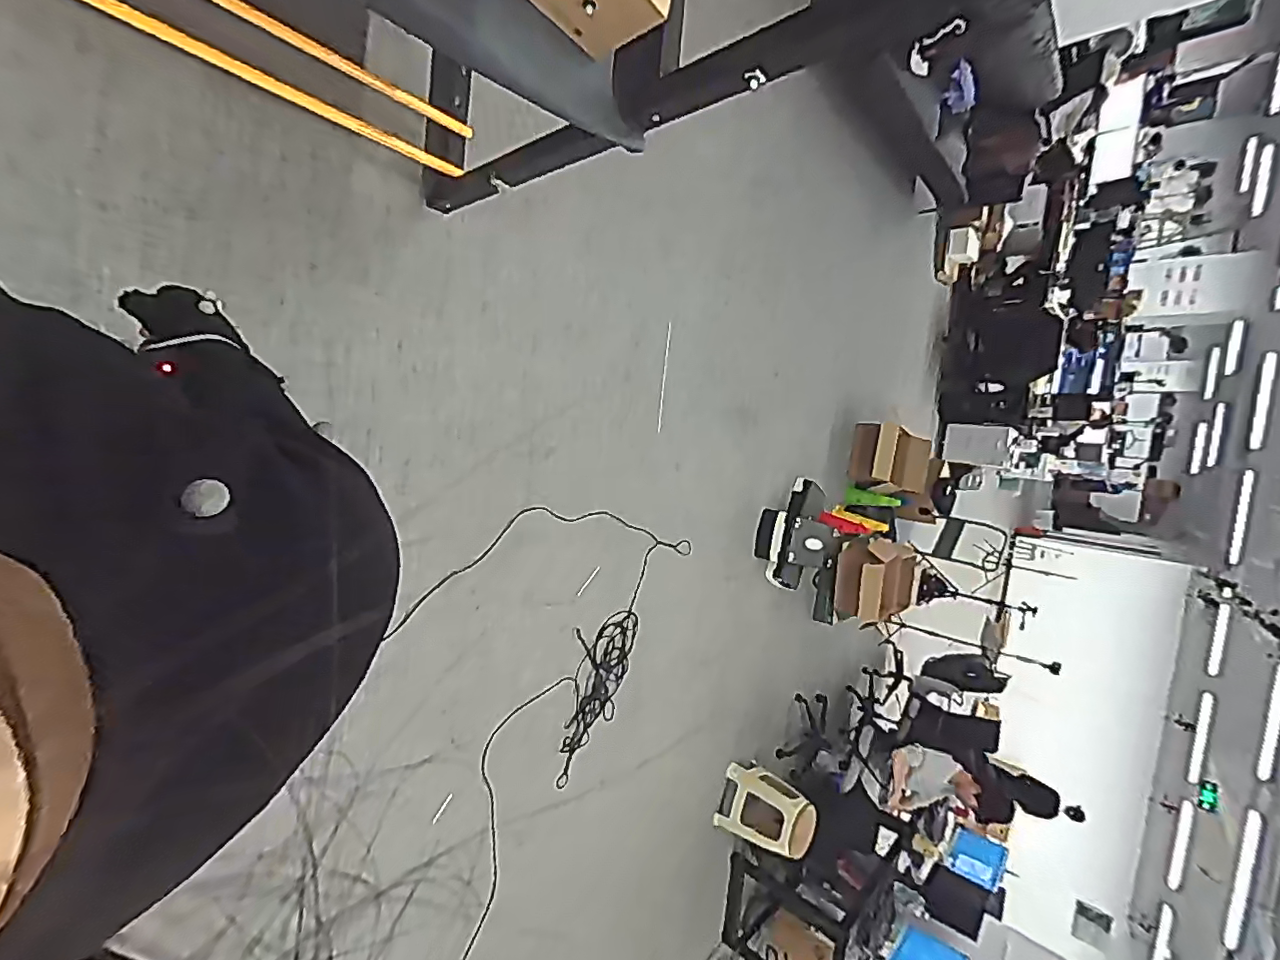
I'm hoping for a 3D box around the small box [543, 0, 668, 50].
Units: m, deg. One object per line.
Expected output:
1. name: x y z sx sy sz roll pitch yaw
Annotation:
1. small box: -0.060 -0.825 0.834 0.168 0.176 0.179 7 92 -49
